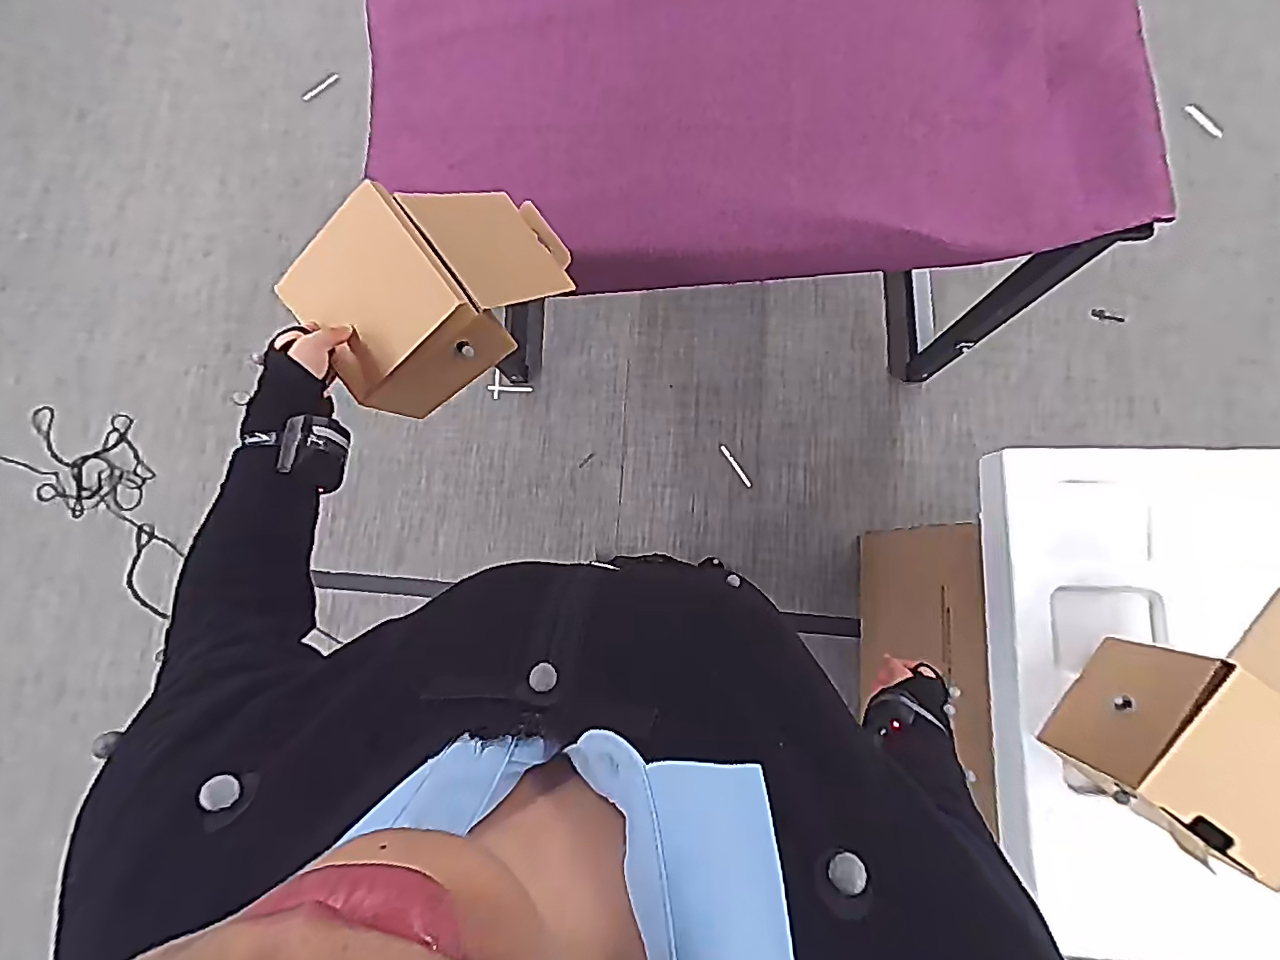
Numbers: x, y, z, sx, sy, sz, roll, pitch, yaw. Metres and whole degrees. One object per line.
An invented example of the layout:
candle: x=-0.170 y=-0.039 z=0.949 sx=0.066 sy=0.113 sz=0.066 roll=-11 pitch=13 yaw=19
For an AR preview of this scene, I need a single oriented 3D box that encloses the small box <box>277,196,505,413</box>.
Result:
small box: x=-0.291 y=-0.205 z=0.683 sx=0.179 sy=0.176 sz=0.168 roll=-36 pitch=89 yaw=1
